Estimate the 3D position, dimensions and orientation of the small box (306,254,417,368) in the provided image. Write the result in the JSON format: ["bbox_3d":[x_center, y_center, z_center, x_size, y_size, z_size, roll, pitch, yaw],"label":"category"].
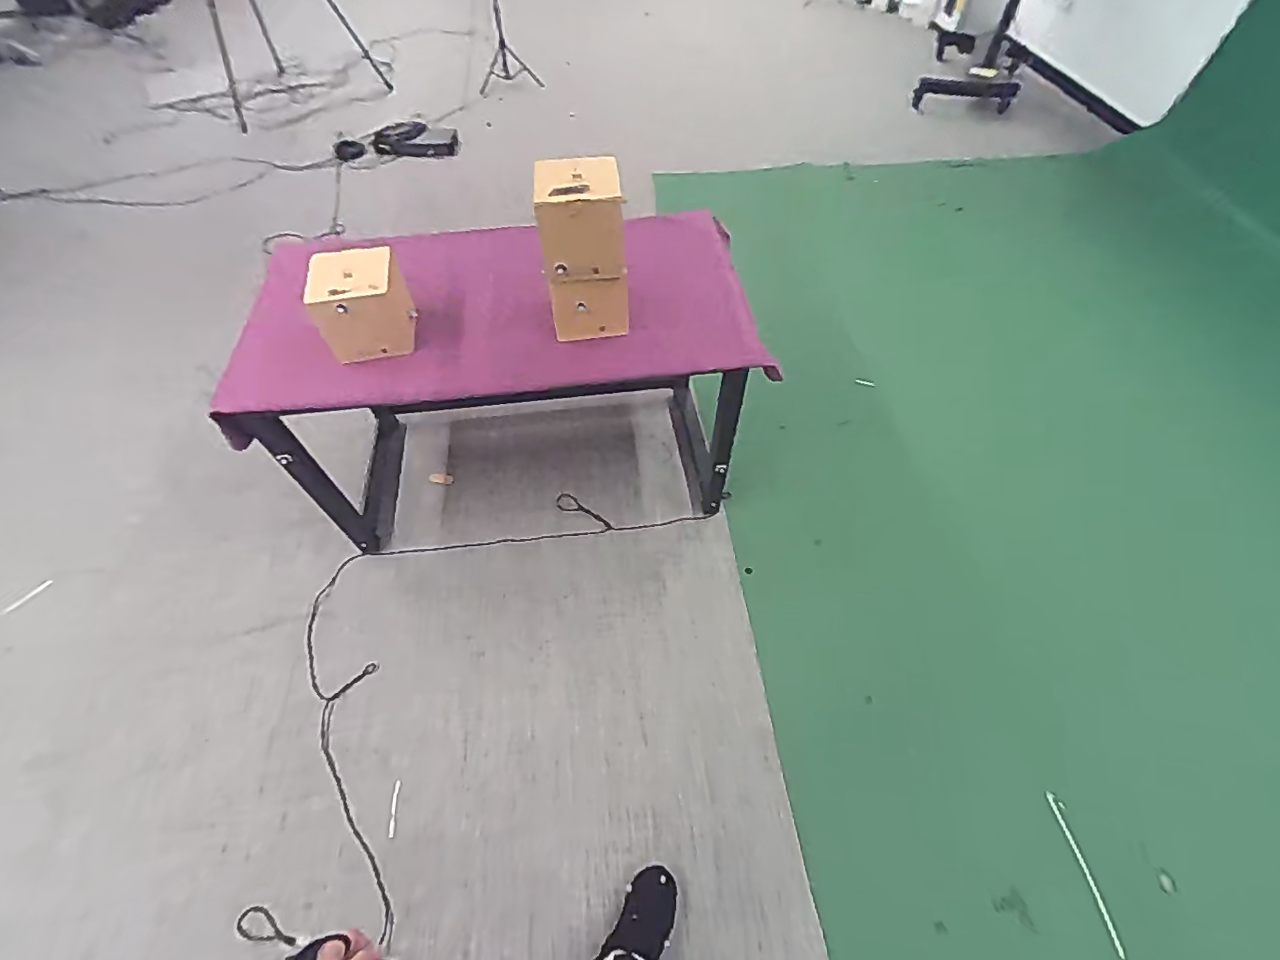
[{"bbox_3d":[-0.616,-0.380,1.220,0.168,0.176,0.179,-11,55,-7],"label":"small box"}]

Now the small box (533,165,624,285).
[{"bbox_3d":[-0.123,-0.519,1.116,0.168,0.176,0.179,-5,53,-3],"label":"small box"}]

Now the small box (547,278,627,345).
[{"bbox_3d":[-0.122,-0.430,1.255,0.168,0.176,0.179,-8,54,-5],"label":"small box"}]
